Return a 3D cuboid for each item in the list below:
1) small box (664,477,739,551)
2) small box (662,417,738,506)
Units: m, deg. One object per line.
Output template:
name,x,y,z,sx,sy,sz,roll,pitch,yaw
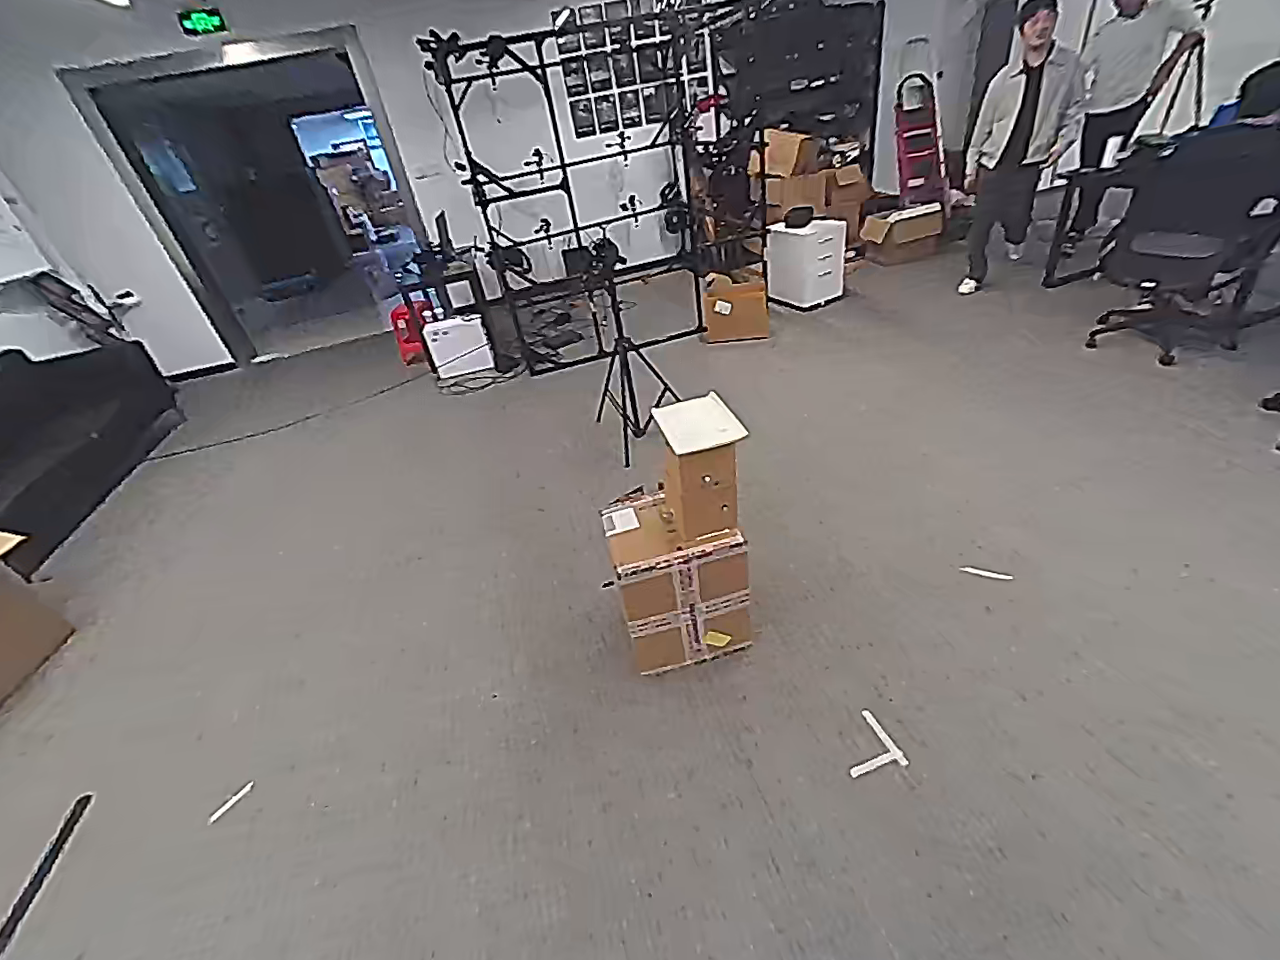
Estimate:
small box,0.183,0.083,1.613,0.179,0.176,0.168,-16,35,-10
small box,0.166,-0.051,1.520,0.168,0.176,0.179,-14,36,-7
